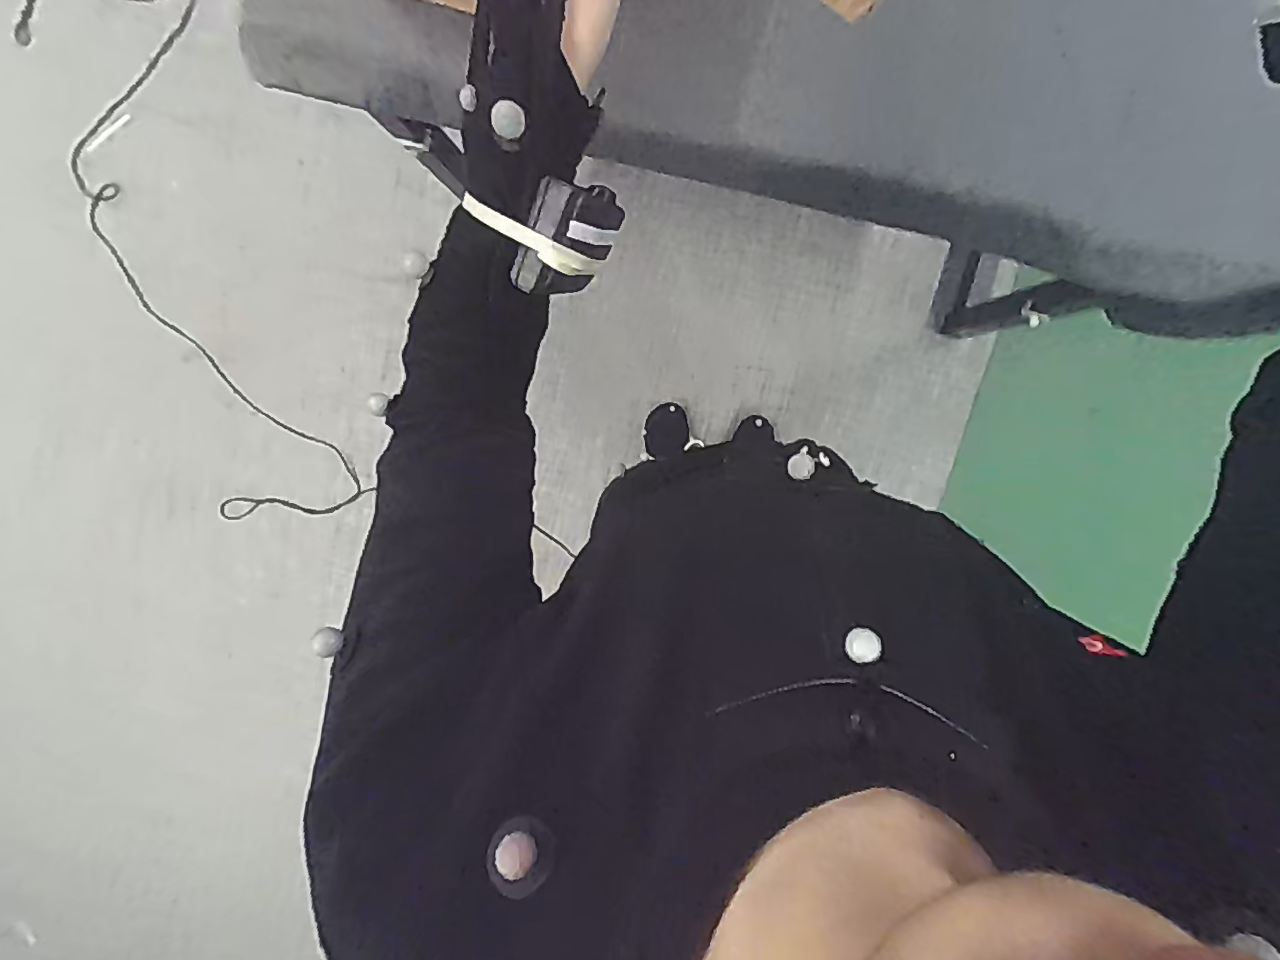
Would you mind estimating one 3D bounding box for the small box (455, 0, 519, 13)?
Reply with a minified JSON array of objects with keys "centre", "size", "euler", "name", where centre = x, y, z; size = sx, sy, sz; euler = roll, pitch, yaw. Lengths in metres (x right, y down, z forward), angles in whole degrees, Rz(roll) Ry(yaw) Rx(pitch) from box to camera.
[{"centre":[-0.179,-0.570,0.477],"size":[0.179,0.176,0.168],"euler":[16,97,0],"name":"small box"}]
